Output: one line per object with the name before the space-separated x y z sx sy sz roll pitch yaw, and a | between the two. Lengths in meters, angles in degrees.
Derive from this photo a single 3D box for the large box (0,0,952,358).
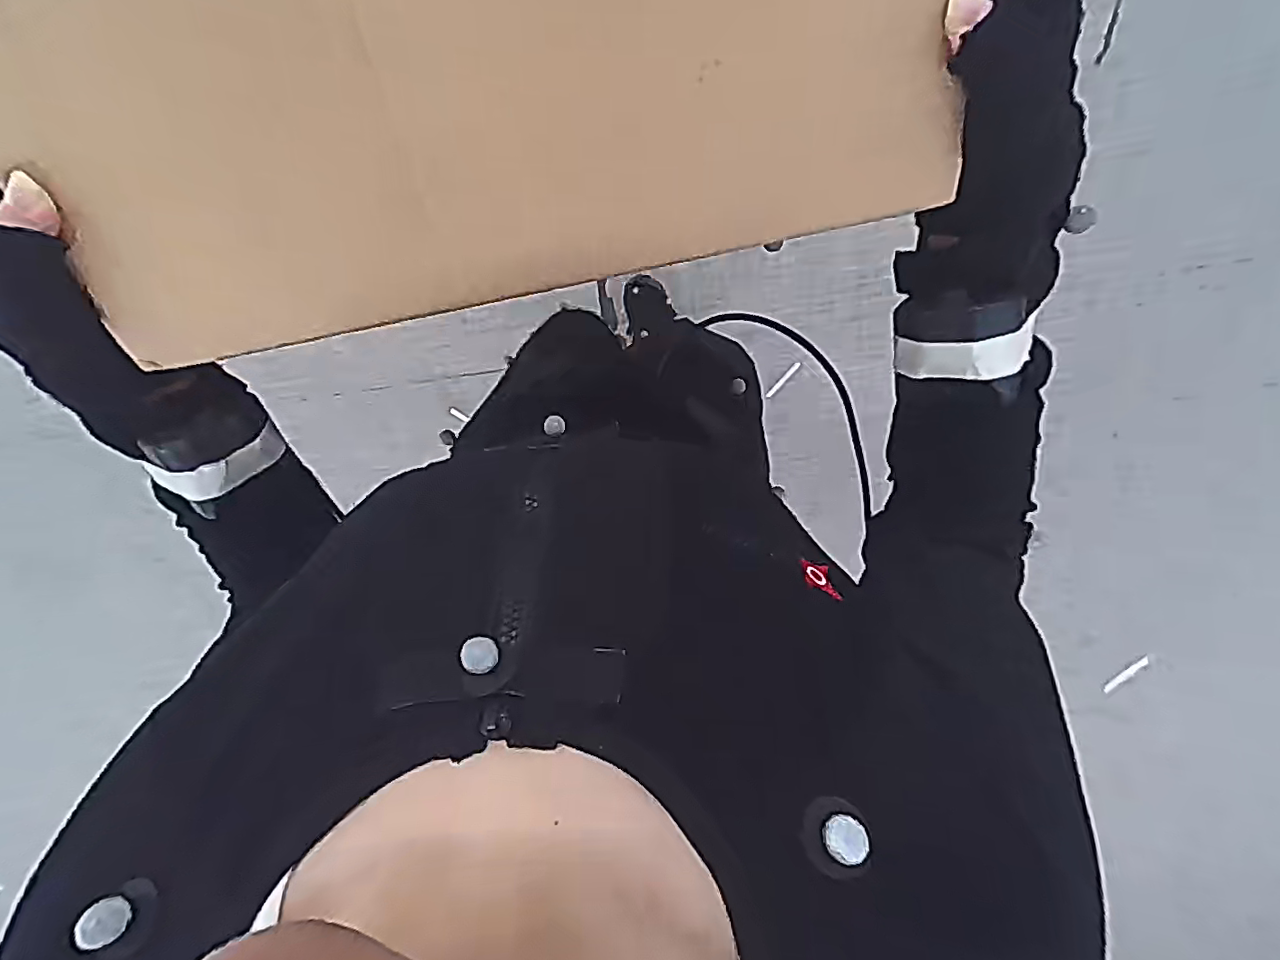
large box | -0.090 -0.309 0.310 0.408 0.320 0.320 -11 122 3
